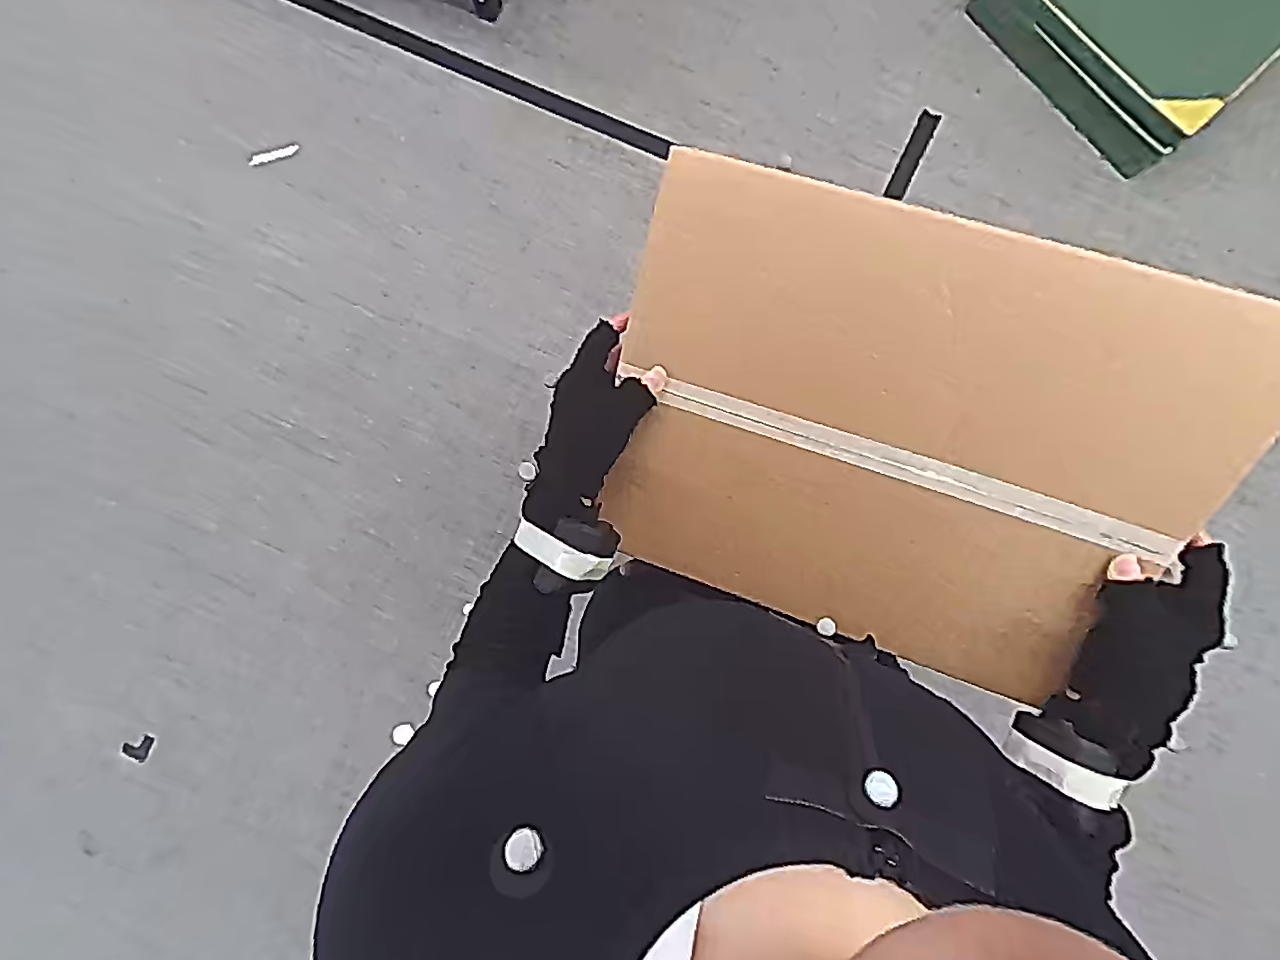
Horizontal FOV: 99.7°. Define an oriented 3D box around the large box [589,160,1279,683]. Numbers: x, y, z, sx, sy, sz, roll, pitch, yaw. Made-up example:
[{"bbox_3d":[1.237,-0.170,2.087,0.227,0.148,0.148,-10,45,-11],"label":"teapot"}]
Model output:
[{"bbox_3d":[0.207,-0.082,0.537,0.408,0.320,0.320,20,118,7],"label":"large box"}]
